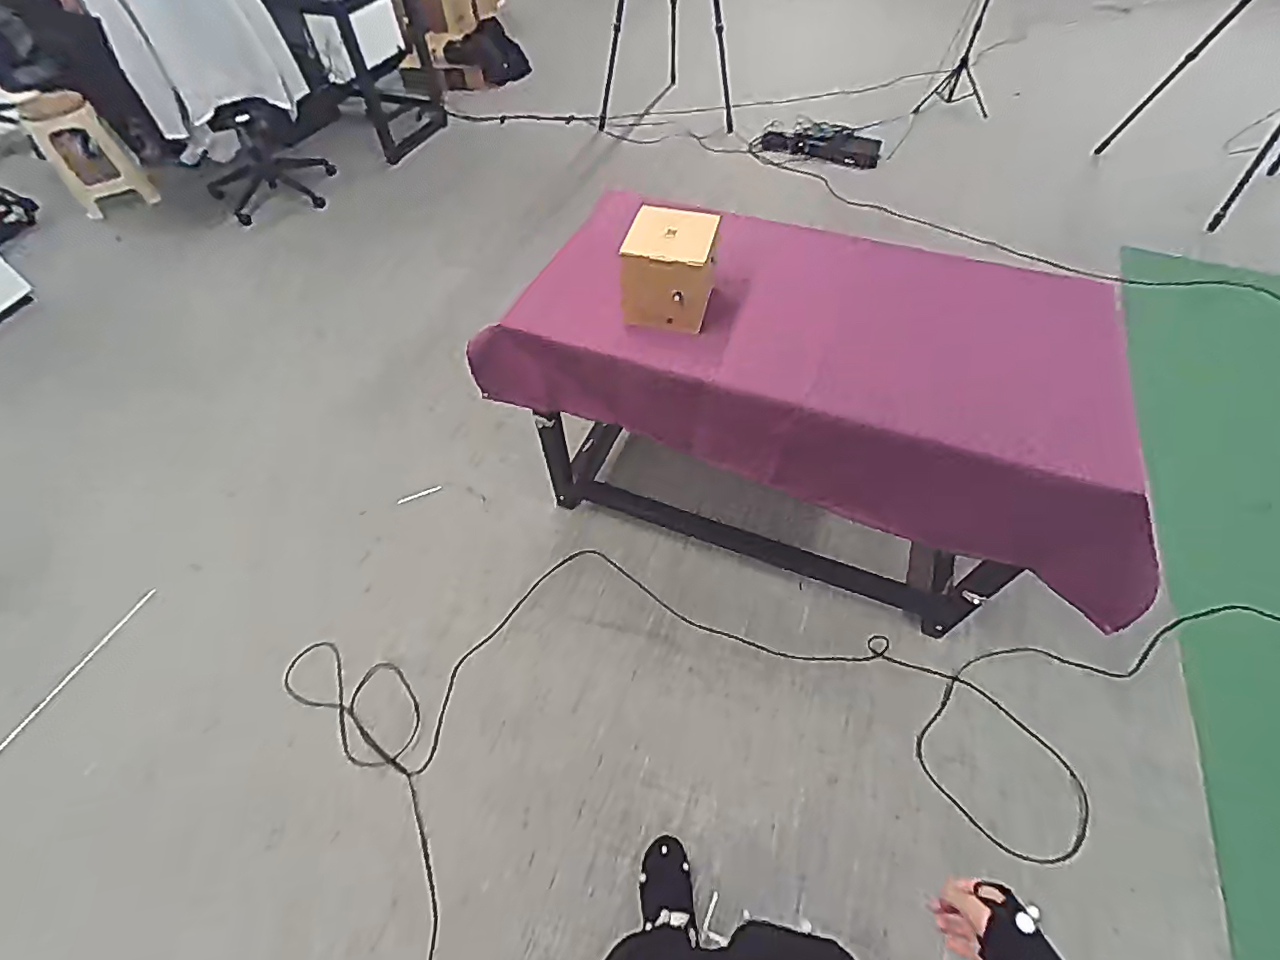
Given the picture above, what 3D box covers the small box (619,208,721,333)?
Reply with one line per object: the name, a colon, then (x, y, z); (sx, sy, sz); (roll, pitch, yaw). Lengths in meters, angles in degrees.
small box: (0.064, -0.427, 1.112); (0.168, 0.176, 0.179); (13, 55, 9)
